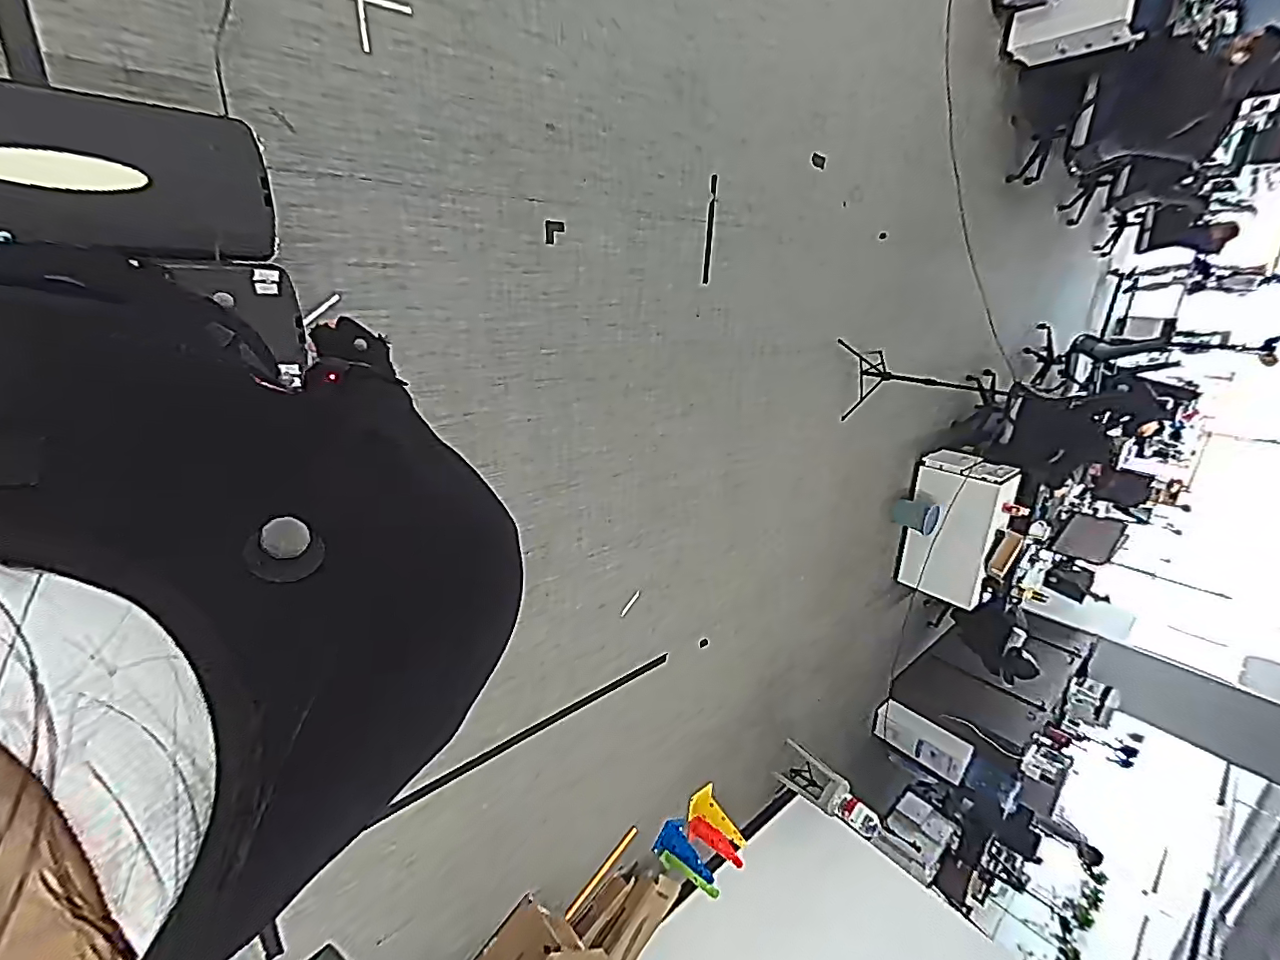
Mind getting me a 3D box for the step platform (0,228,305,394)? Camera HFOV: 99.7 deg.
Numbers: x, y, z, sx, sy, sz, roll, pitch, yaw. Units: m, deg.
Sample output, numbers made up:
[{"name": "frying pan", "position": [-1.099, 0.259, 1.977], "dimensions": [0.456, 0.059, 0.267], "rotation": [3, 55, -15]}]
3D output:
[{"name": "step platform", "position": [-1.072, -0.337, 1.079], "dimensions": [0.684, 0.204, 0.286], "rotation": [-15, 115, -37]}]
